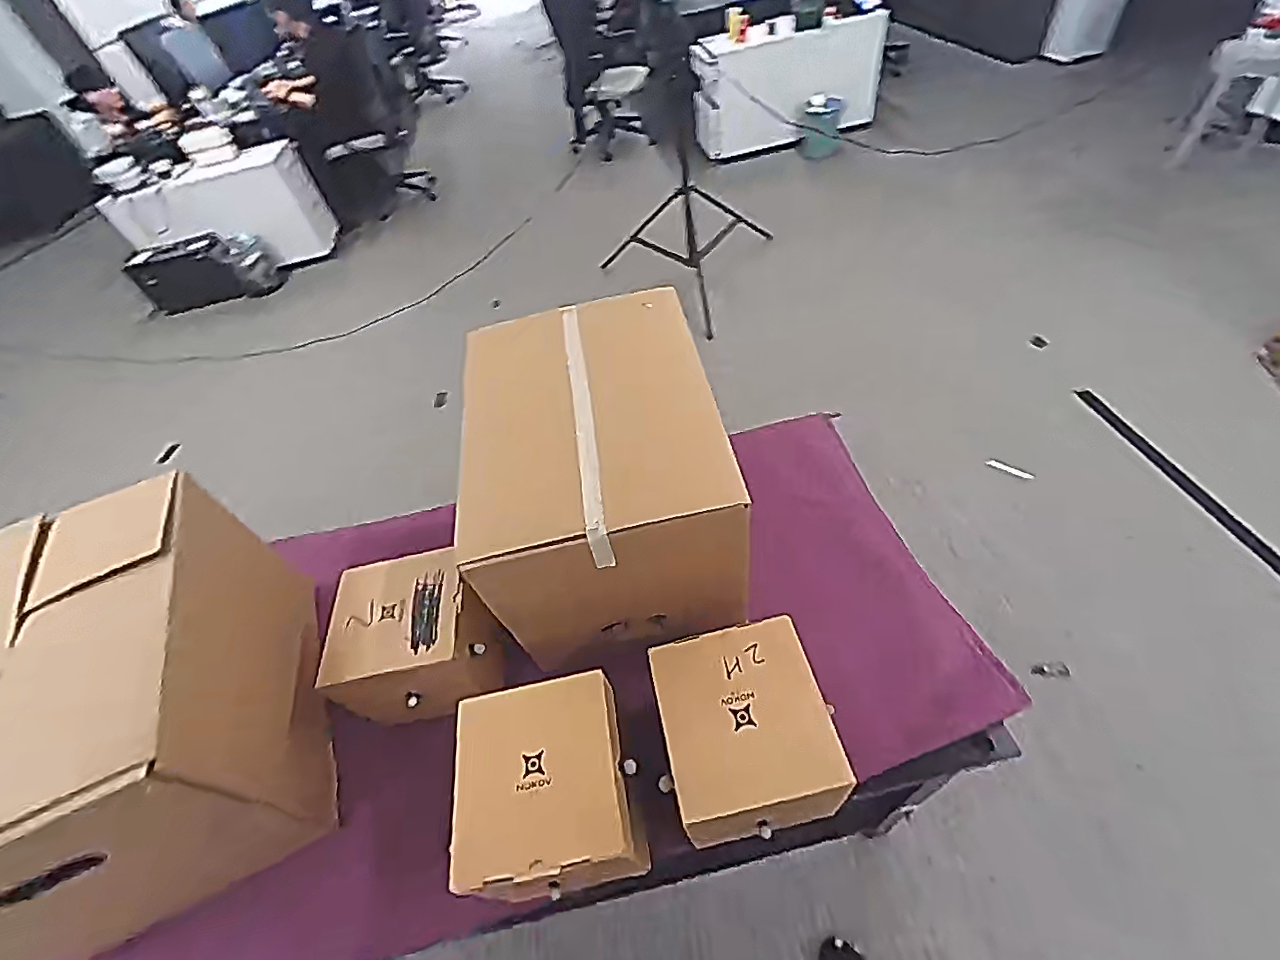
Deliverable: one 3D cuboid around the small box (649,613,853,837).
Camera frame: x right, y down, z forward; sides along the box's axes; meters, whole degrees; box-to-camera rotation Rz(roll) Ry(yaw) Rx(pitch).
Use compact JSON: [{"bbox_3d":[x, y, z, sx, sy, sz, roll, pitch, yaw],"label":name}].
[{"bbox_3d":[0.116,0.280,0.606,0.168,0.176,0.179,-14,48,-1],"label":"small box"}]
